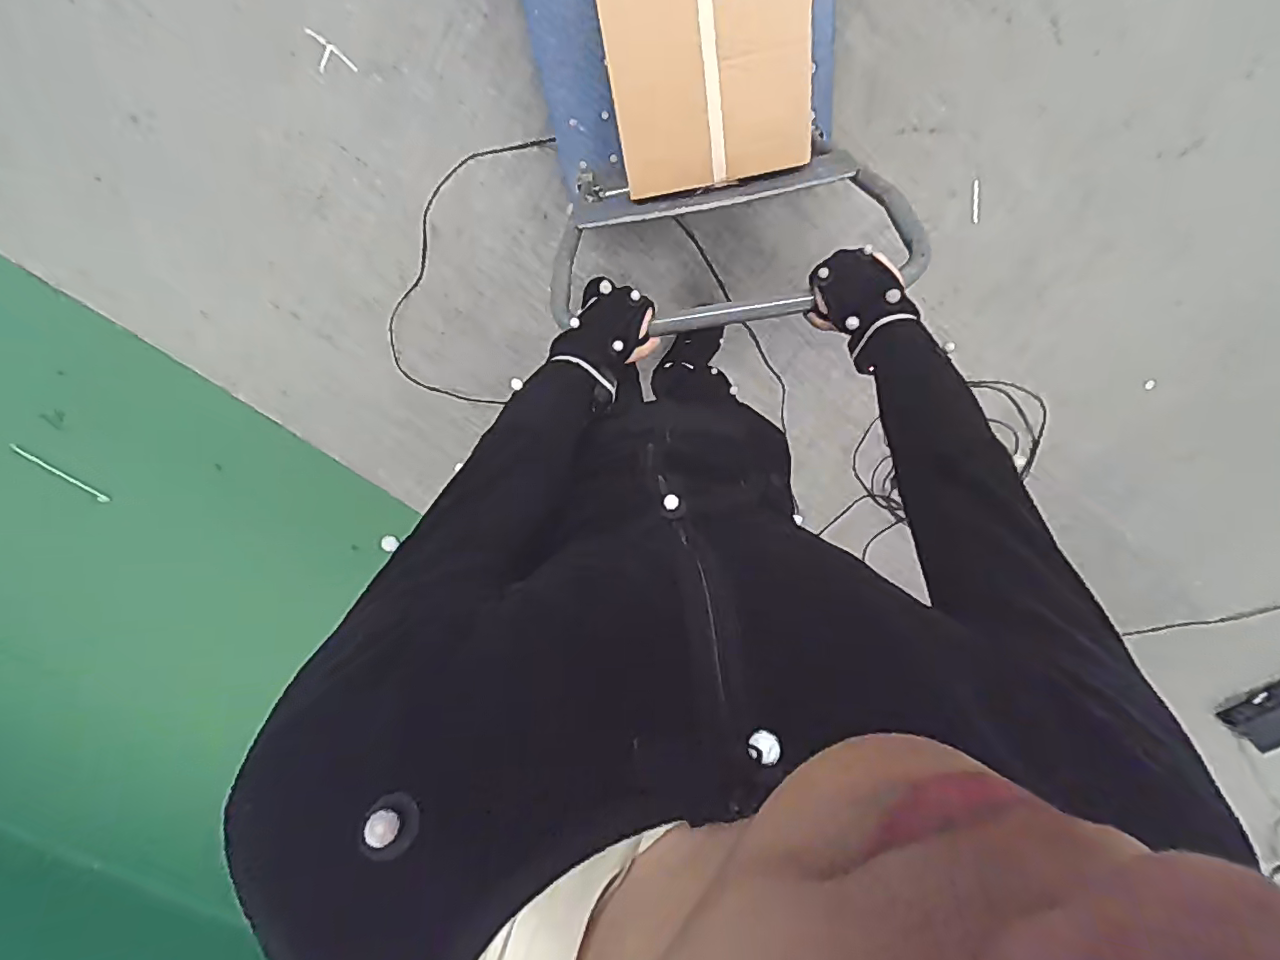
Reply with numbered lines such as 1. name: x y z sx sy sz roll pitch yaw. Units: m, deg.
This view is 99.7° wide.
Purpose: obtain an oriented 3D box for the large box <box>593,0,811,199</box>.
1. large box: 0.104 -0.760 0.943 0.320 0.320 0.408 -8 125 7
